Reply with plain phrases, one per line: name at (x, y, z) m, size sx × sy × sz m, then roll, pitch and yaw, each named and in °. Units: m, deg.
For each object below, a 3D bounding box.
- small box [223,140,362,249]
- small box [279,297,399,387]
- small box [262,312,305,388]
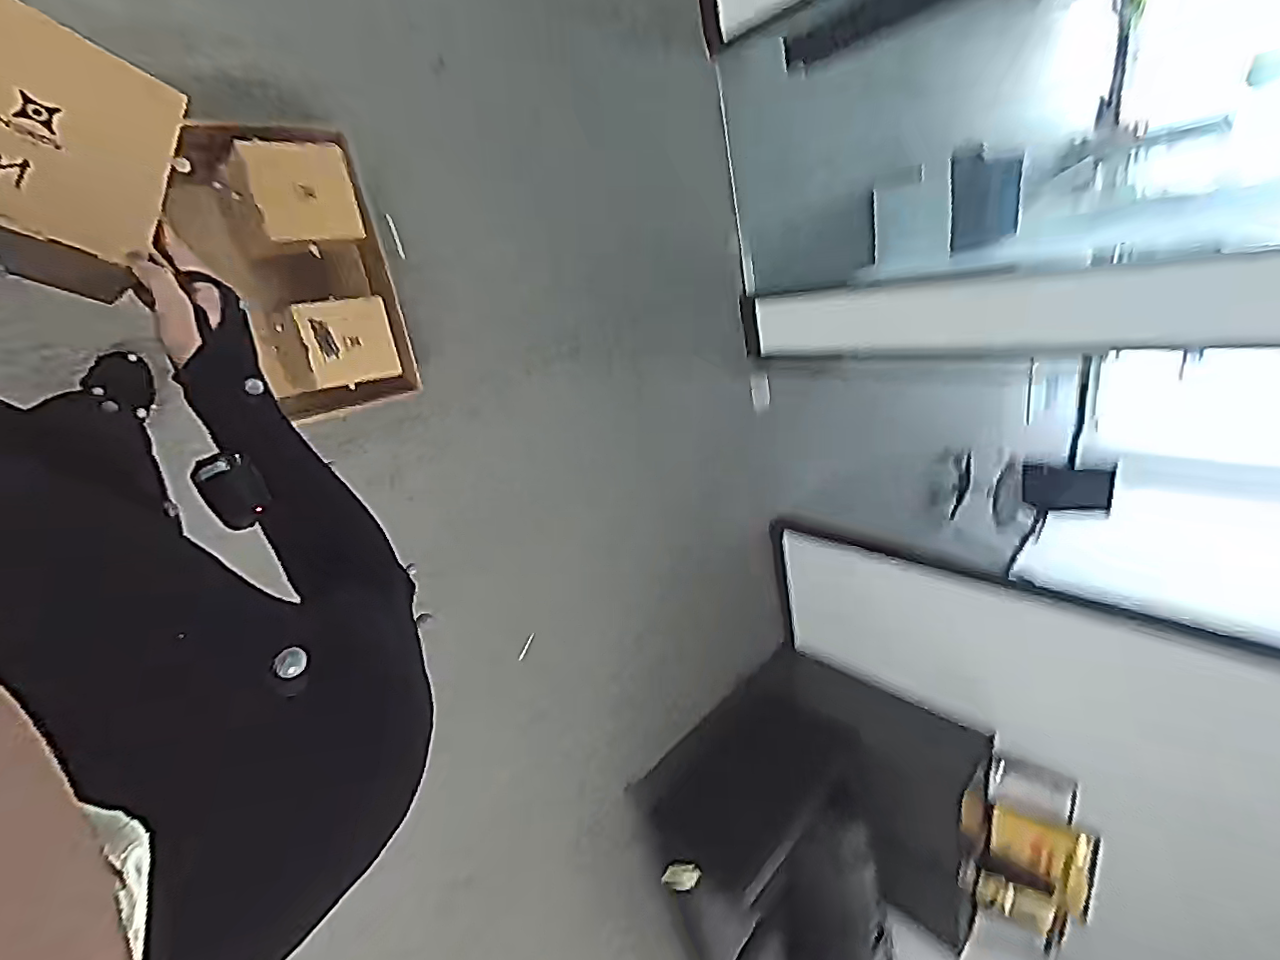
small box at (-0.696, -0.563, 1.084) m, size 0.179 × 0.176 × 0.168 m, roll -24°, pitch 117°, yaw -37°
small box at (-0.659, -0.298, 1.176) m, size 0.179 × 0.176 × 0.168 m, roll -23°, pitch 113°, yaw -39°
small box at (-0.769, -0.322, 1.296) m, size 0.179 × 0.176 × 0.168 m, roll -24°, pitch 114°, yaw -36°
